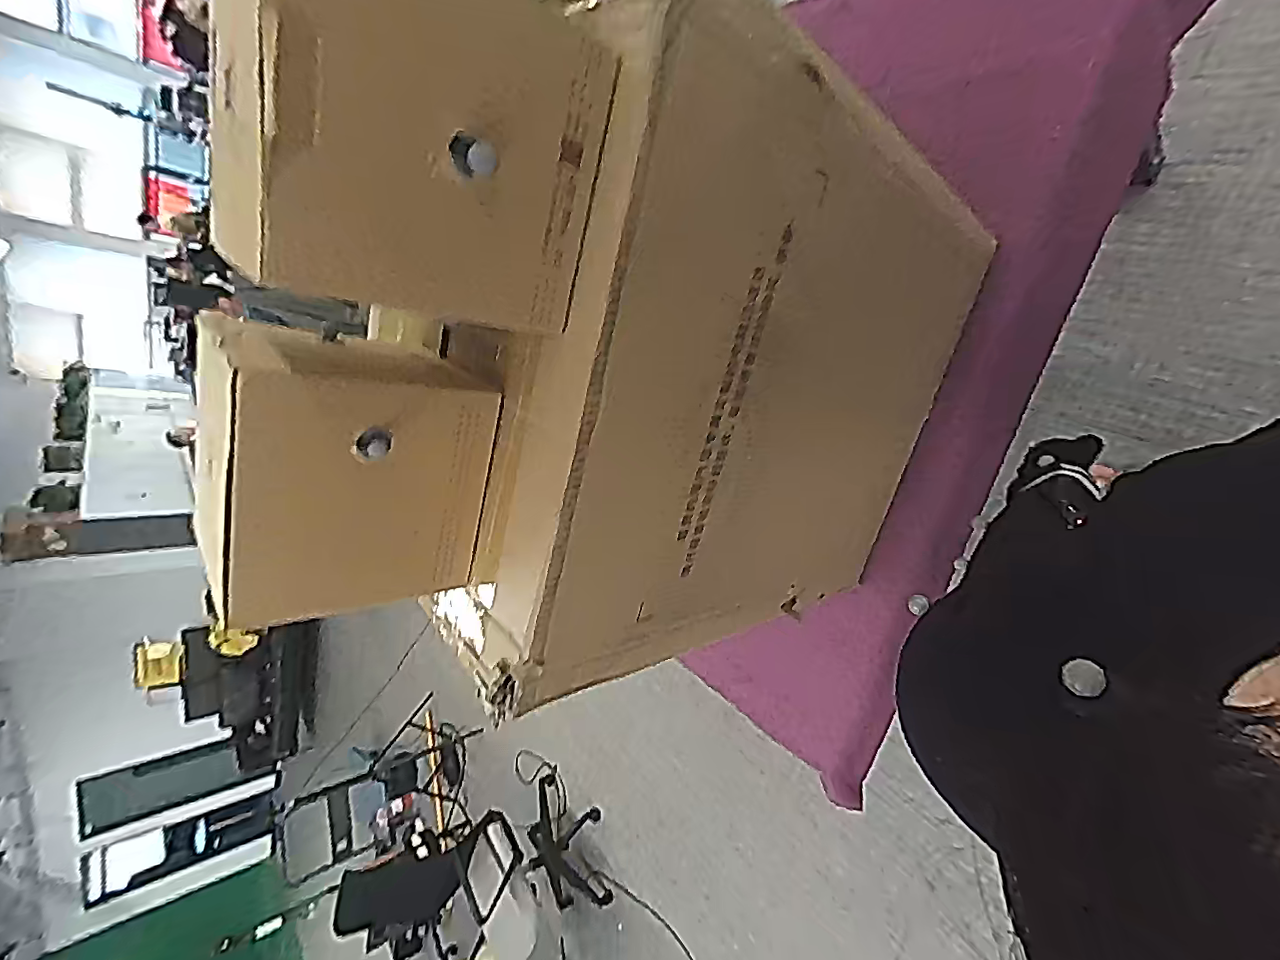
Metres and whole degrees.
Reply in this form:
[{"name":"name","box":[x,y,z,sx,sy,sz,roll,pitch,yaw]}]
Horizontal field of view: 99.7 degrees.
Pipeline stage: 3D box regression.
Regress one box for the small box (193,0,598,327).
[{"name":"small box","box":[-0.149,-0.196,0.325,0.179,0.176,0.168,32,115,41]}]

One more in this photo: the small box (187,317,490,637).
[{"name":"small box","box":[-0.235,-0.012,0.423,0.168,0.176,0.179,30,113,42]}]
